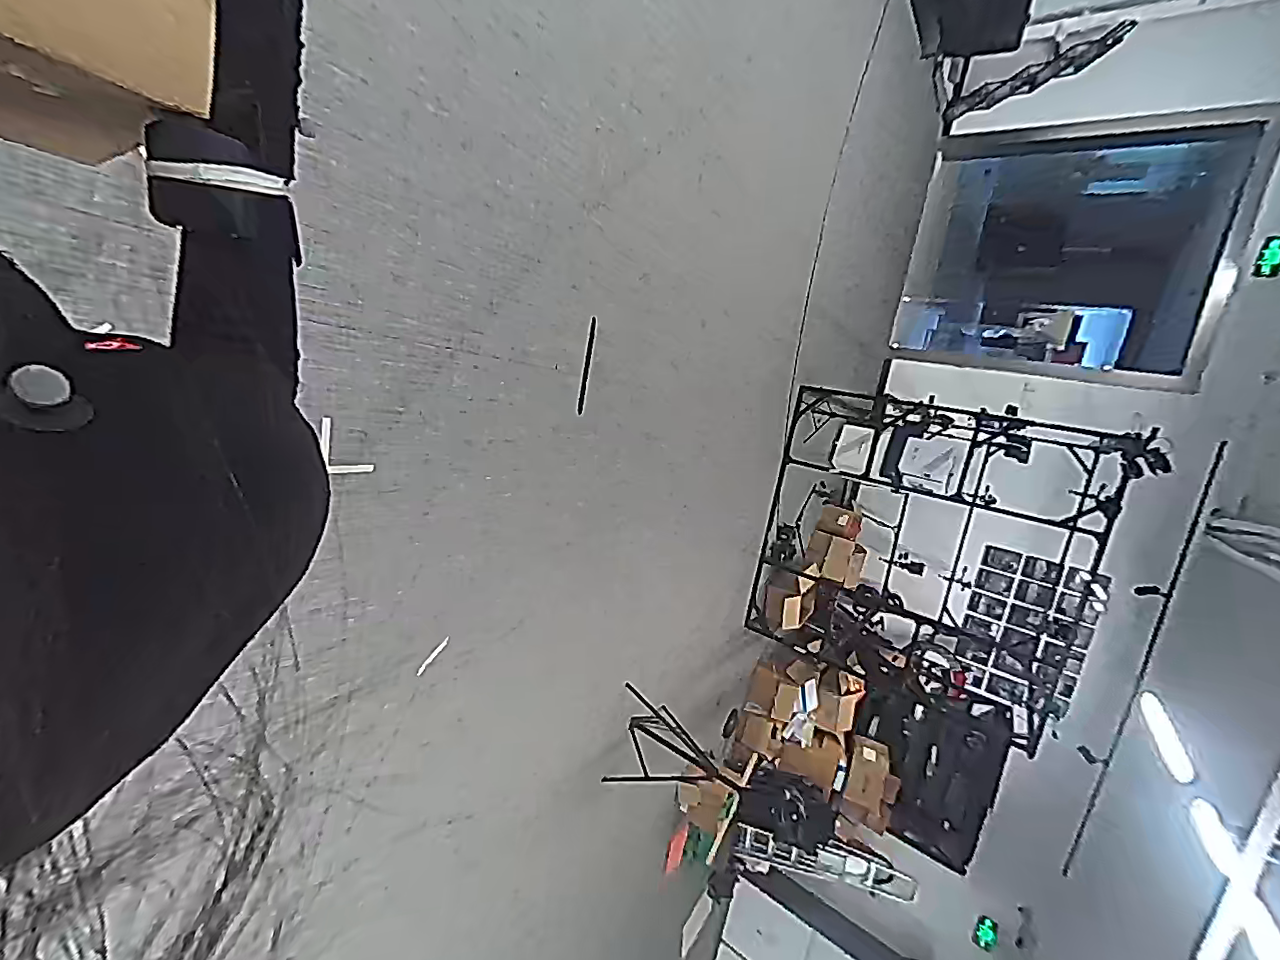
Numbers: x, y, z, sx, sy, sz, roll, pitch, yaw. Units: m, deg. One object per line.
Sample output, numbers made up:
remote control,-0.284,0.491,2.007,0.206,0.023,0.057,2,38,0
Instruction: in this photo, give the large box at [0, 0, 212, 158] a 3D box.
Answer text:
large box,-0.497,-0.412,0.254,0.408,0.320,0.320,-3,107,-55
